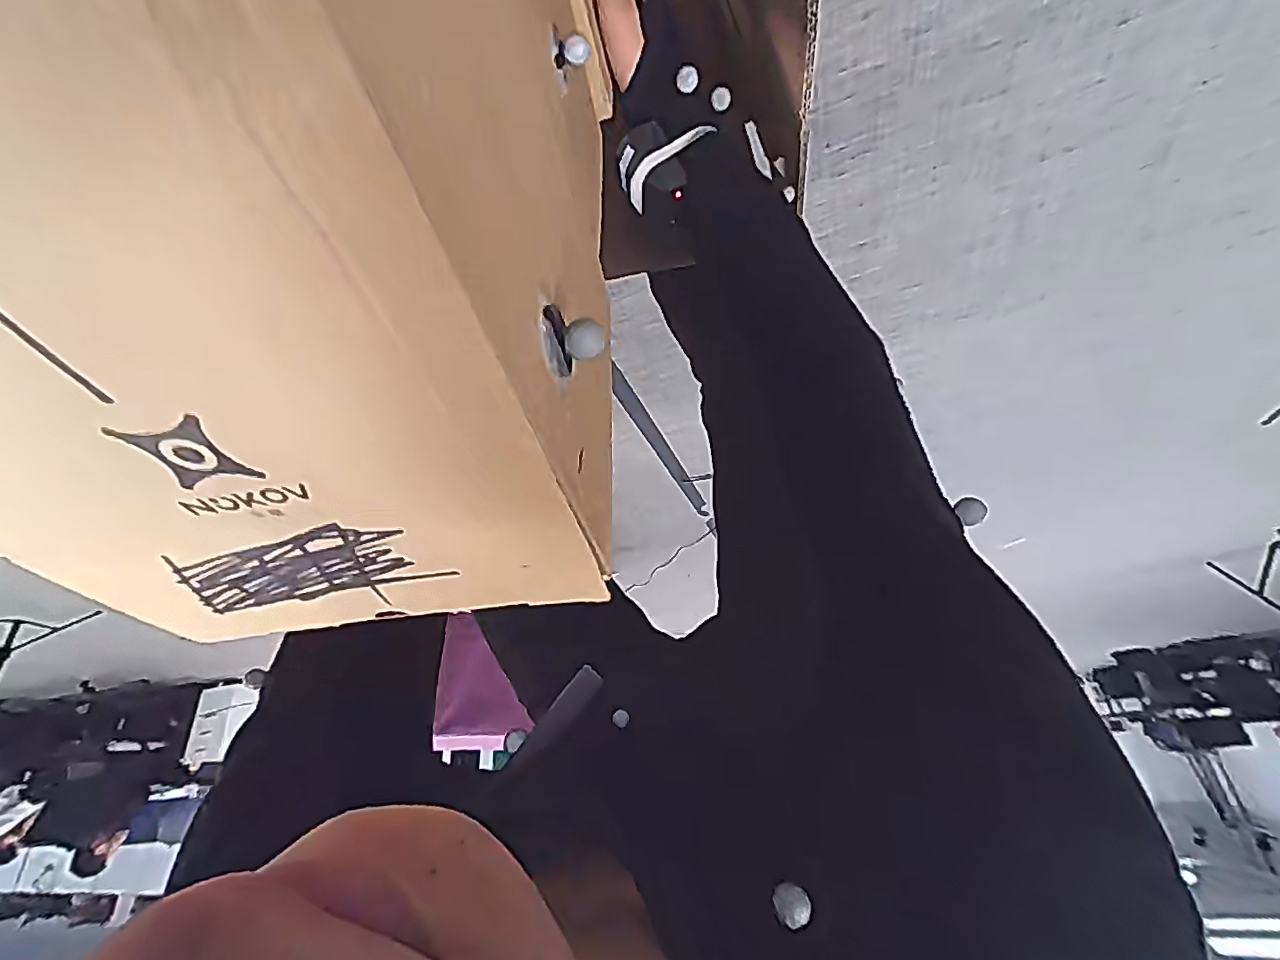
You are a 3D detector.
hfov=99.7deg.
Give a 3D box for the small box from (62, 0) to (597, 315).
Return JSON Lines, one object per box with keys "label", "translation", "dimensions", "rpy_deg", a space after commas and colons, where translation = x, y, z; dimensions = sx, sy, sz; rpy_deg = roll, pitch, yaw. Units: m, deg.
{"label": "small box", "translation": [-0.117, -0.215, 0.270], "dimensions": [0.168, 0.176, 0.179], "rpy_deg": [-8, 143, 6]}
